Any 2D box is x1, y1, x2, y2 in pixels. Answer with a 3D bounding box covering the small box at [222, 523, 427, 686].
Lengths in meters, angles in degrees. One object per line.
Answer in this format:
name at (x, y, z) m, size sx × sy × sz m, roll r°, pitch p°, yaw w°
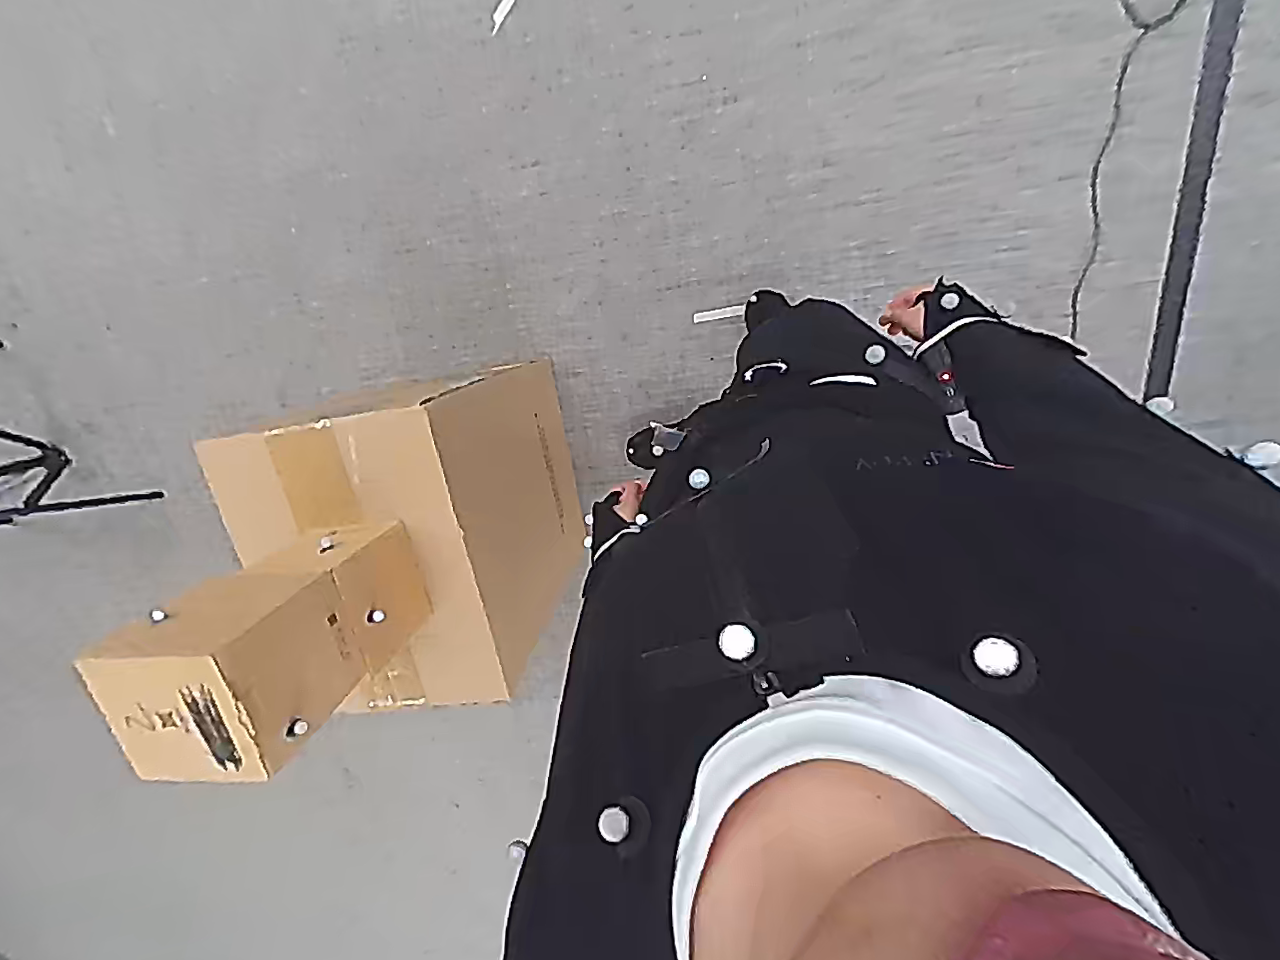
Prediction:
small box at (-0.445, 0.172, 0.795) m, size 0.168 × 0.176 × 0.179 m, roll -7°, pitch 109°, yaw 10°
